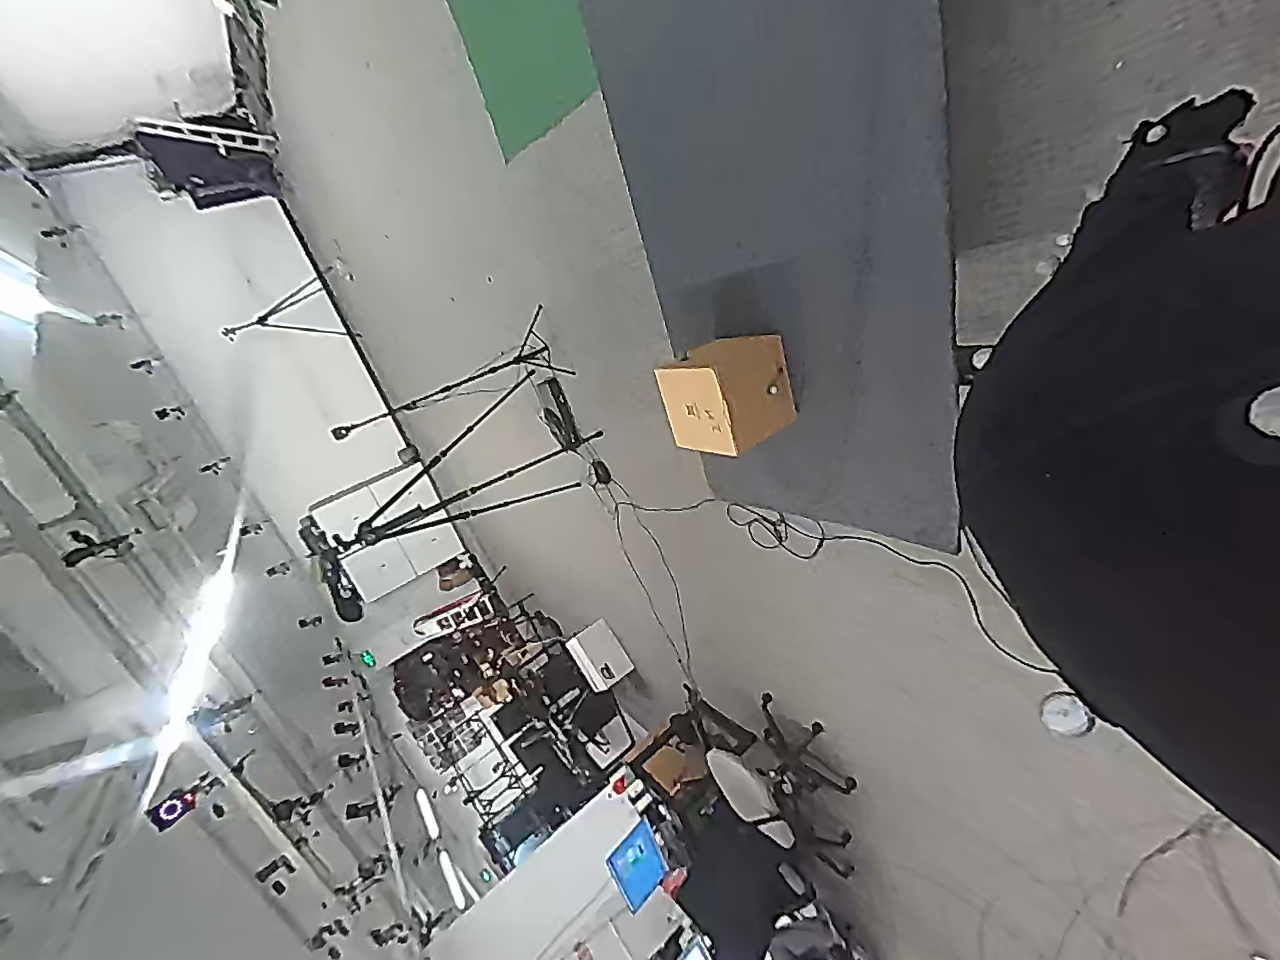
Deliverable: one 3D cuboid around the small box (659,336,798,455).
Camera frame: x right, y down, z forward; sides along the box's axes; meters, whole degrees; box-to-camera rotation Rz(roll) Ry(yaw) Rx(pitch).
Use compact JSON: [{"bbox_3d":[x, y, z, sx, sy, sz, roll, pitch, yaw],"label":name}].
[{"bbox_3d":[0.169,-0.165,1.025,0.179,0.176,0.168,14,129,54],"label":"small box"}]
